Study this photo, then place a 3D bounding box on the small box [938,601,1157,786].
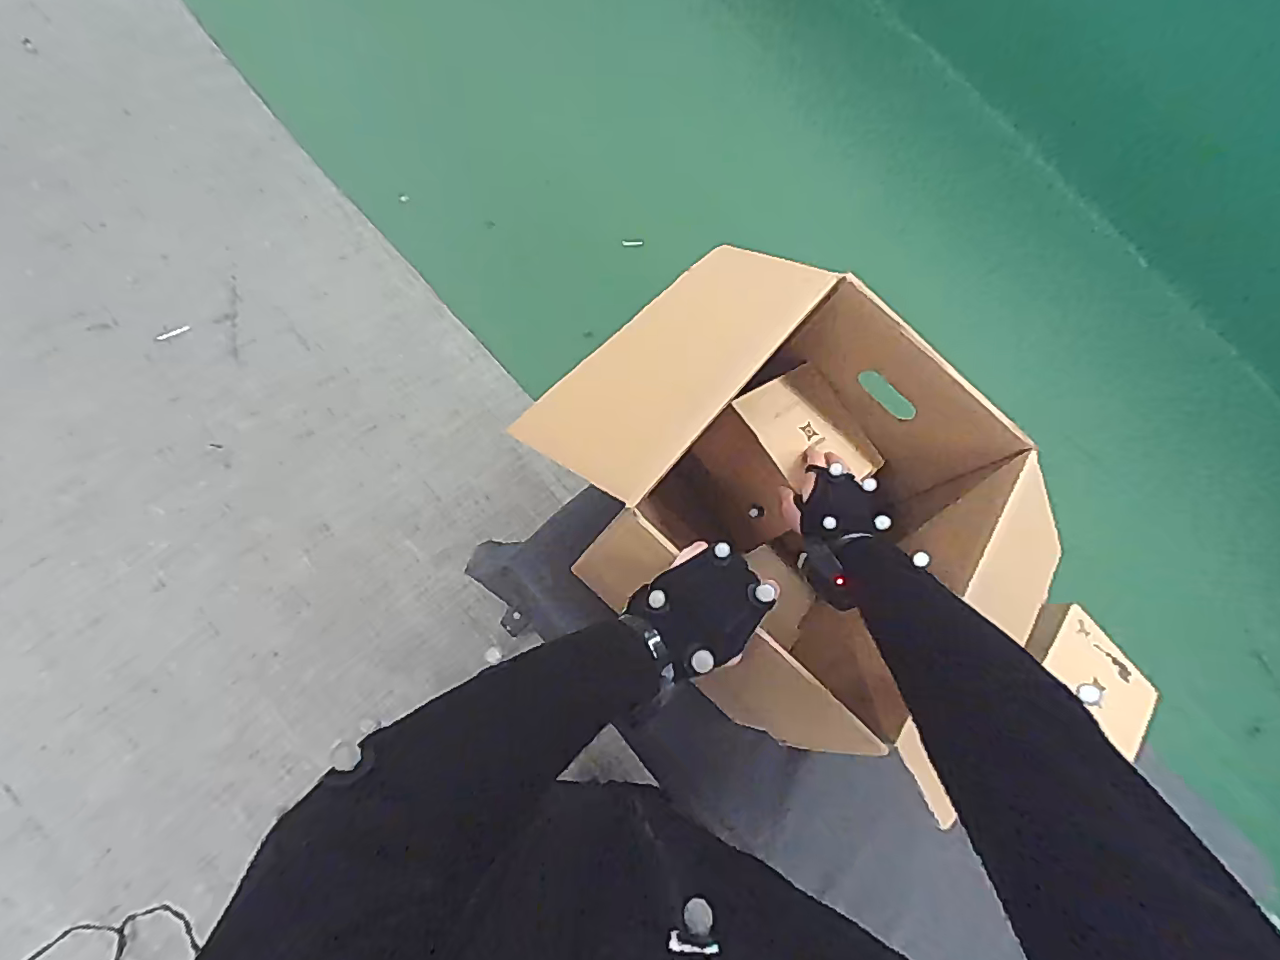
[{"bbox_3d":[0.579,0.303,0.792,0.179,0.176,0.168,-37,85,-23],"label":"small box"}]
